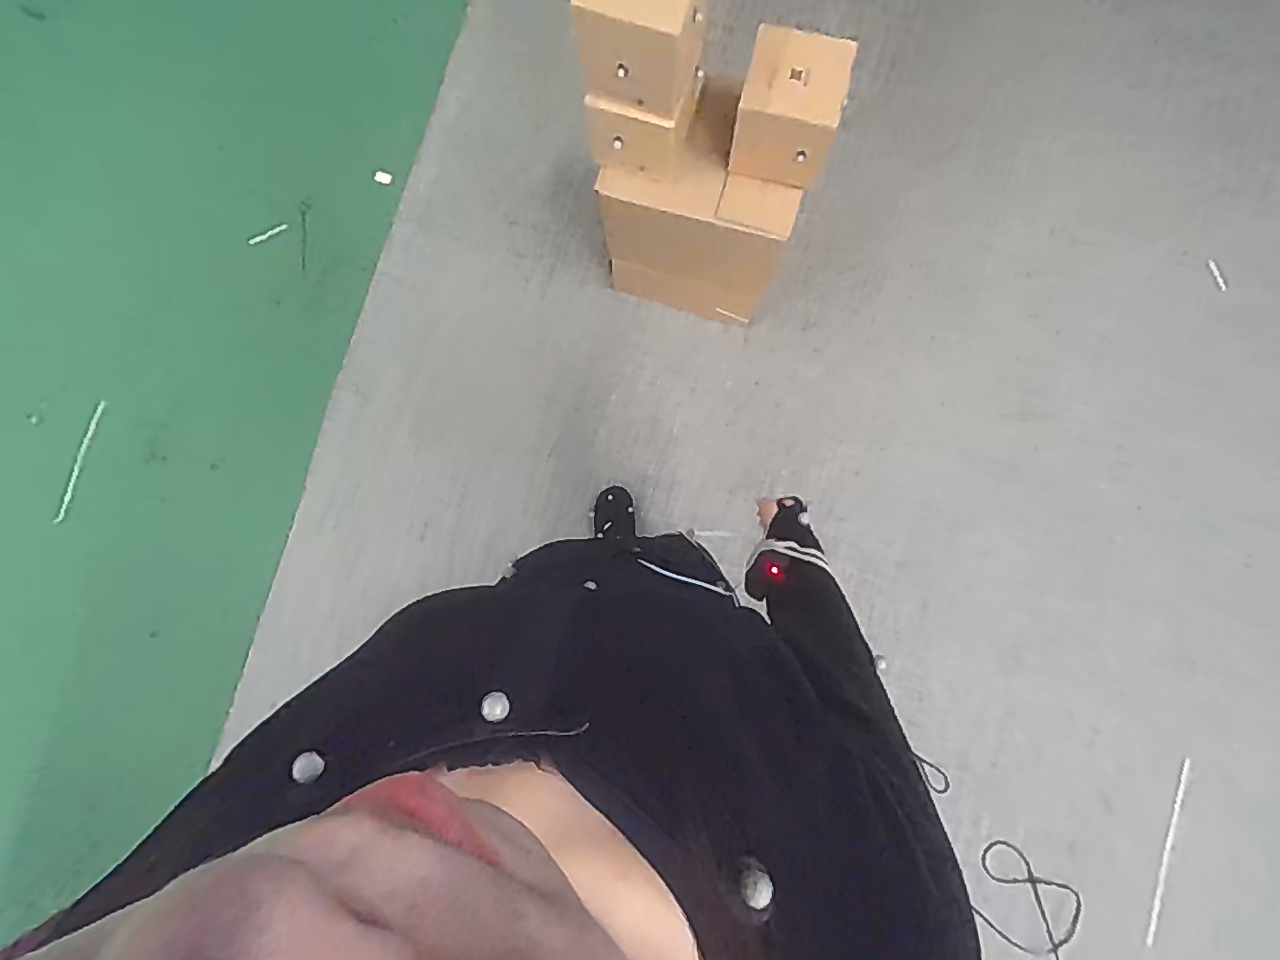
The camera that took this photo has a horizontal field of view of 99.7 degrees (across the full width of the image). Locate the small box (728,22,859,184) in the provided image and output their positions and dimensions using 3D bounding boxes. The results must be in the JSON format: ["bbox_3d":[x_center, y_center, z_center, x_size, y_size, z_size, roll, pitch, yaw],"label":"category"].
[{"bbox_3d":[0.275,-0.688,1.007,0.179,0.176,0.168,16,86,4],"label":"small box"}]

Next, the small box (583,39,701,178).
[{"bbox_3d":[0.006,-0.709,1.013,0.168,0.176,0.179,18,87,1],"label":"small box"}]

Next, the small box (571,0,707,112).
[{"bbox_3d":[0.007,-0.730,0.849,0.168,0.176,0.179,20,87,1],"label":"small box"}]
